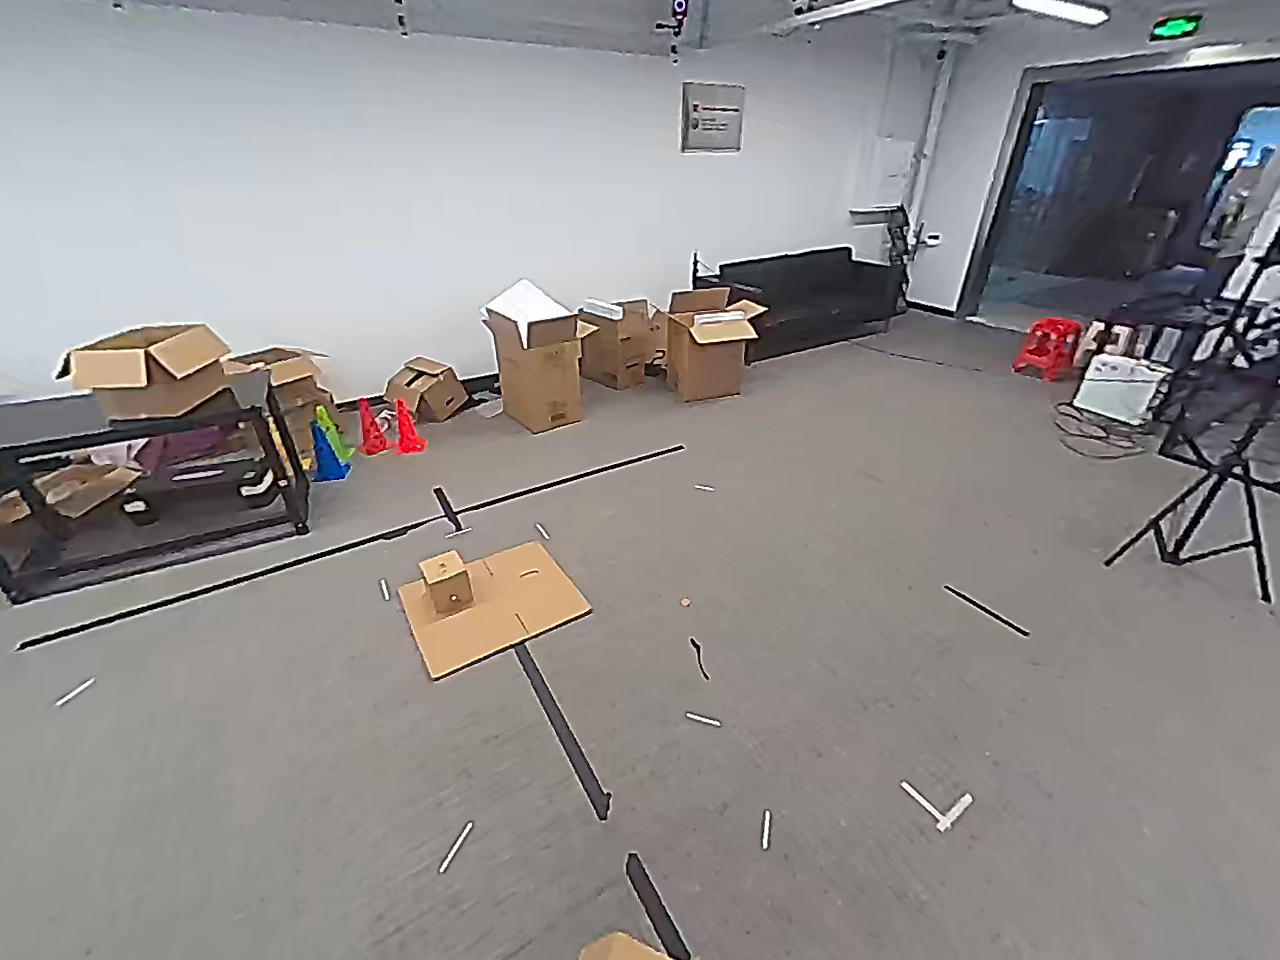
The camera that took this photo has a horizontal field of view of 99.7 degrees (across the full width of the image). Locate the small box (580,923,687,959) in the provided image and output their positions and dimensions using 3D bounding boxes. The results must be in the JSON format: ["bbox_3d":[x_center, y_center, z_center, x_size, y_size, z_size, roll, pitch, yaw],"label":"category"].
[{"bbox_3d":[0.004,0.562,0.506,0.179,0.176,0.168,26,43,3],"label":"small box"}]

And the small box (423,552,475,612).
[{"bbox_3d":[-0.848,0.454,2.402,0.168,0.176,0.179,-19,35,-27],"label":"small box"}]
